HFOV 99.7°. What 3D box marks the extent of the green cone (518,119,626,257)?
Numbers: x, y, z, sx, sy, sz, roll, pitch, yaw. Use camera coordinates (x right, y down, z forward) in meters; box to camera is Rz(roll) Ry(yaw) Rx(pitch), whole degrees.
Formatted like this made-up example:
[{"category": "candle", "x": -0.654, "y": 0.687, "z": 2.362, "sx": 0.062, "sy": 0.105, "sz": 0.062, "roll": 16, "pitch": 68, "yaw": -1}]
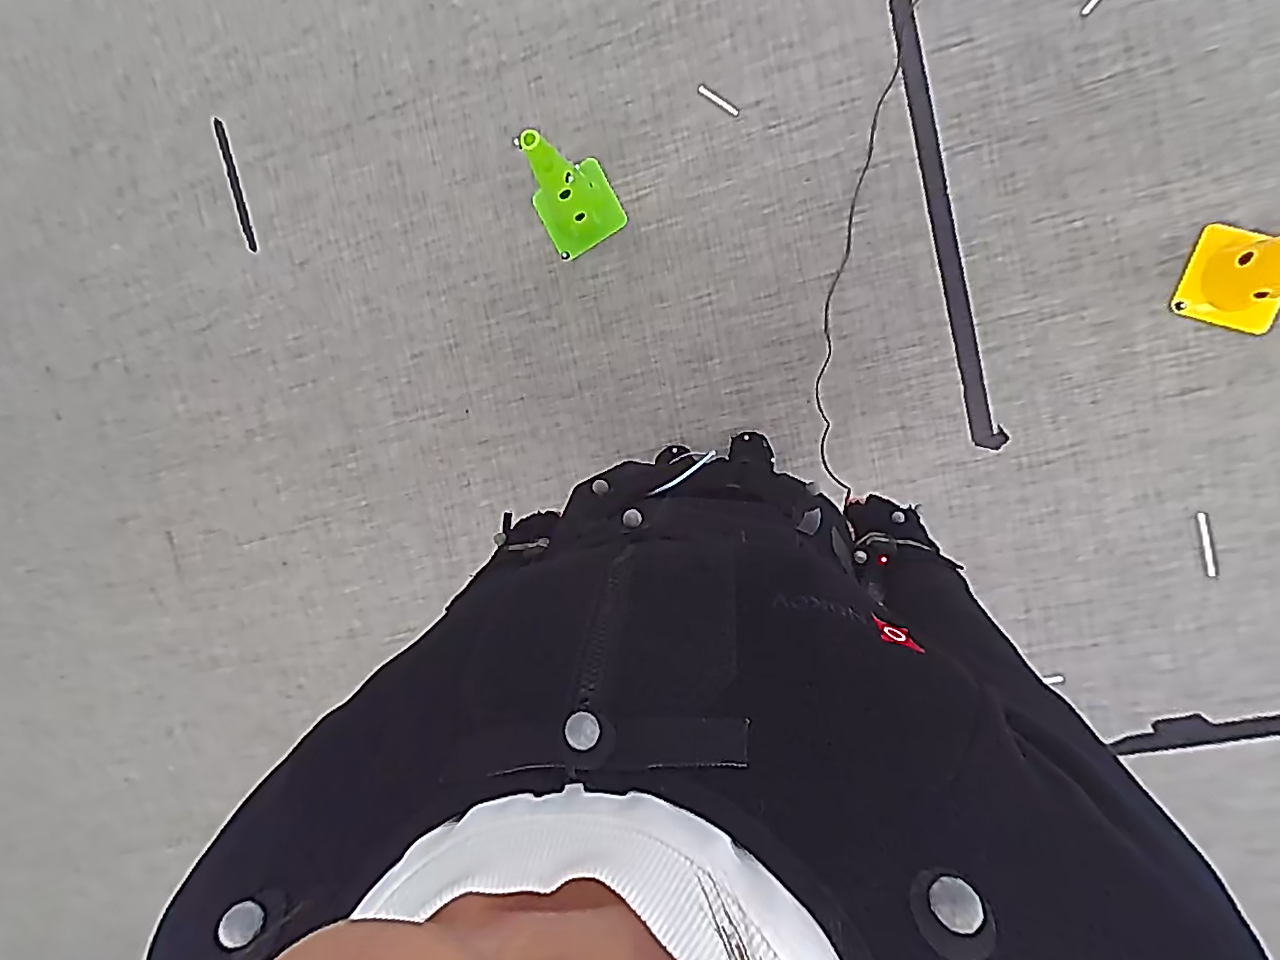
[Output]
[{"category": "green cone", "x": -0.186, "y": -0.700, "z": 1.241, "sx": 0.200, "sy": 0.368, "sz": 0.202, "roll": -29, "pitch": 88, "yaw": 10}]
